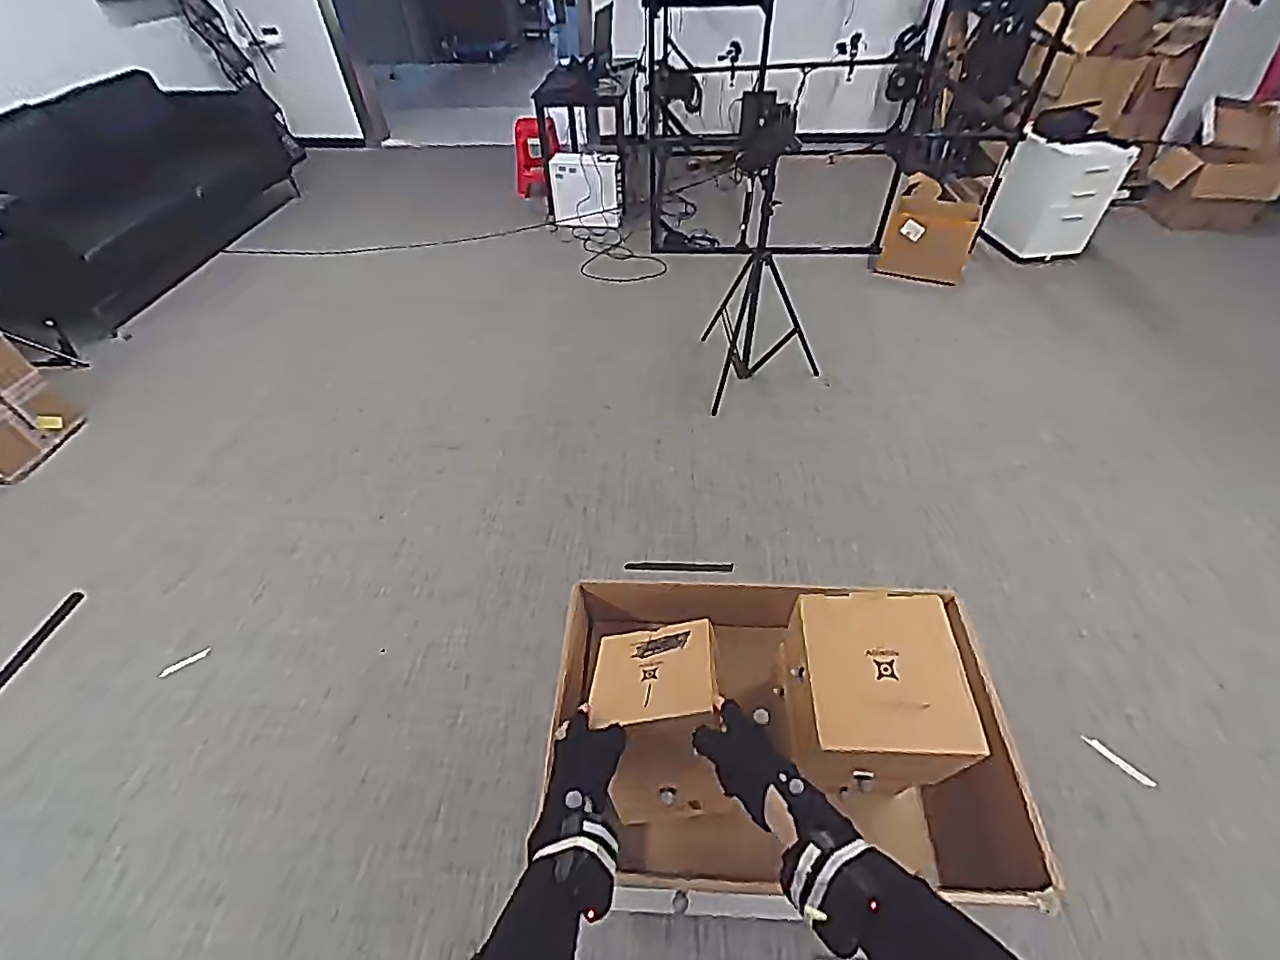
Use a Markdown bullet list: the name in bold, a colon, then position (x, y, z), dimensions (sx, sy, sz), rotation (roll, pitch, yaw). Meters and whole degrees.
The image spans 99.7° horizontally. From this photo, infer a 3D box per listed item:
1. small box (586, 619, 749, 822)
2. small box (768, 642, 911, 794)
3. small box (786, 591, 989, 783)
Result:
- **small box**: position (0.044, 0.322, 0.738), dimensions (0.168, 0.176, 0.179), rotation (-16, 18, 11)
- **small box**: position (0.291, 0.349, 0.789), dimensions (0.179, 0.176, 0.168), rotation (-1, 51, 5)
- **small box**: position (0.277, 0.252, 0.657), dimensions (0.168, 0.176, 0.179), rotation (-2, 52, 6)
